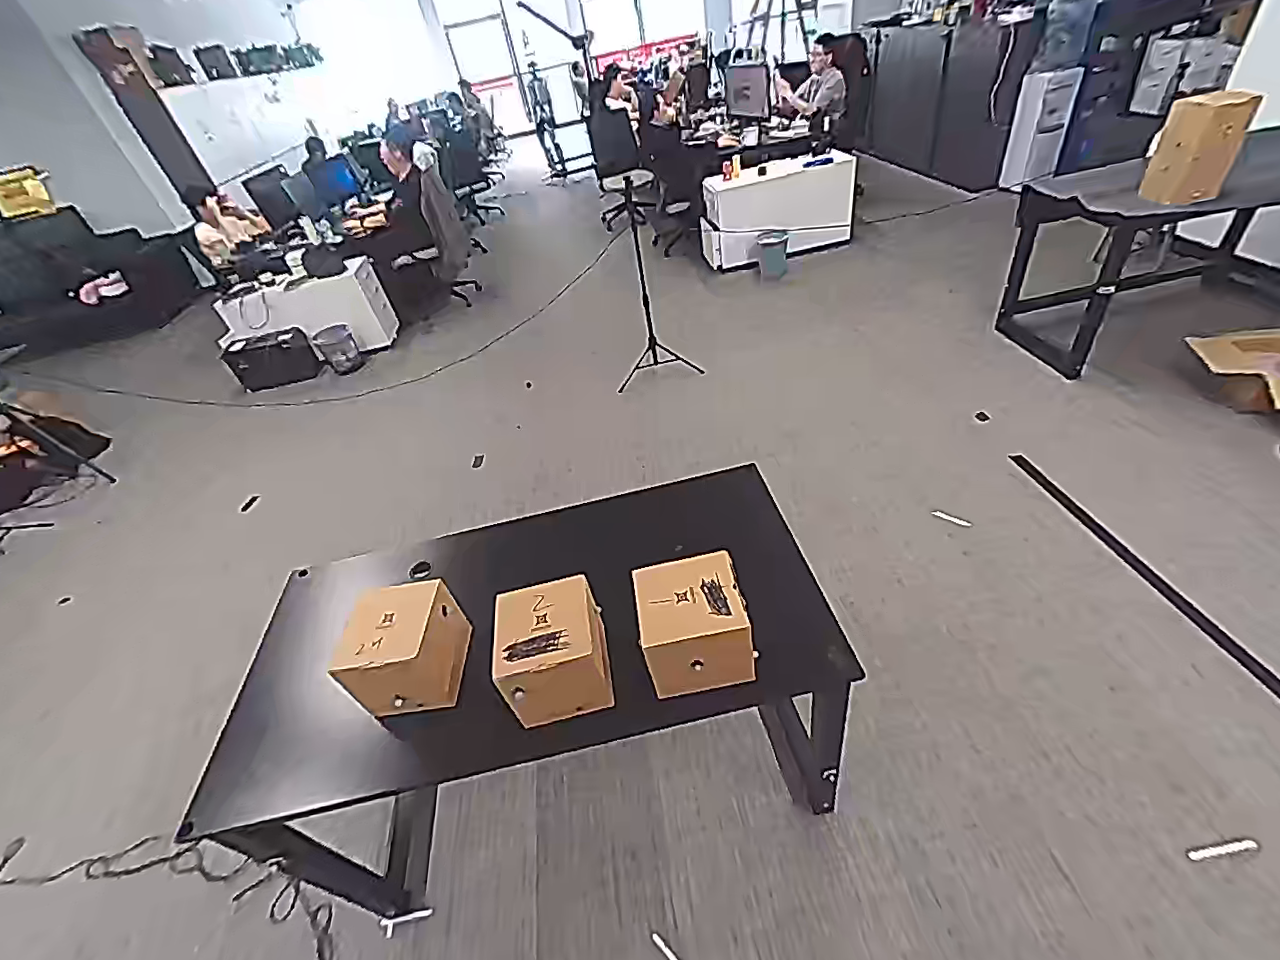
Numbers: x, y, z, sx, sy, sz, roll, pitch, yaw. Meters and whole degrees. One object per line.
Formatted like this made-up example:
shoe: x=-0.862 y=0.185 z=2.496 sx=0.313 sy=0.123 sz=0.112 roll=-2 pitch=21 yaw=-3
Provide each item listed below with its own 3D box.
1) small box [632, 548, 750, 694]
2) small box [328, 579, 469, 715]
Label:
small box: x=0.092 y=0.250 z=0.955 sx=0.179 sy=0.176 sz=0.168 roll=-13 pitch=40 yaw=2
small box: x=-0.443 y=0.316 z=1.027 sx=0.168 sy=0.176 sz=0.179 roll=-10 pitch=40 yaw=5
